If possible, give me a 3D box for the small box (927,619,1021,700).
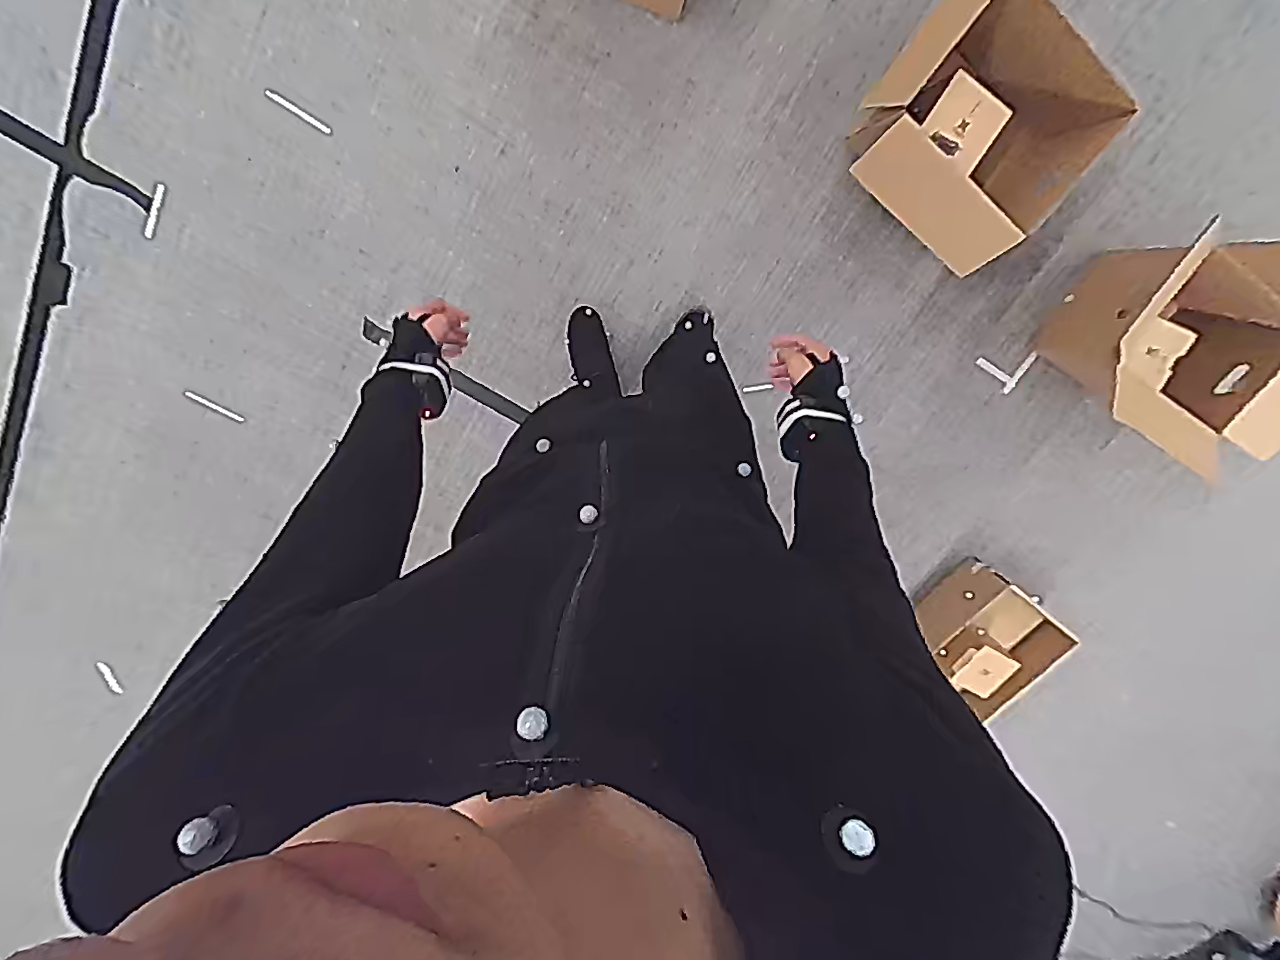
[{"bbox_3d":[1.125,0.602,1.838,0.179,0.176,0.168,29,108,-14],"label":"small box"}]
